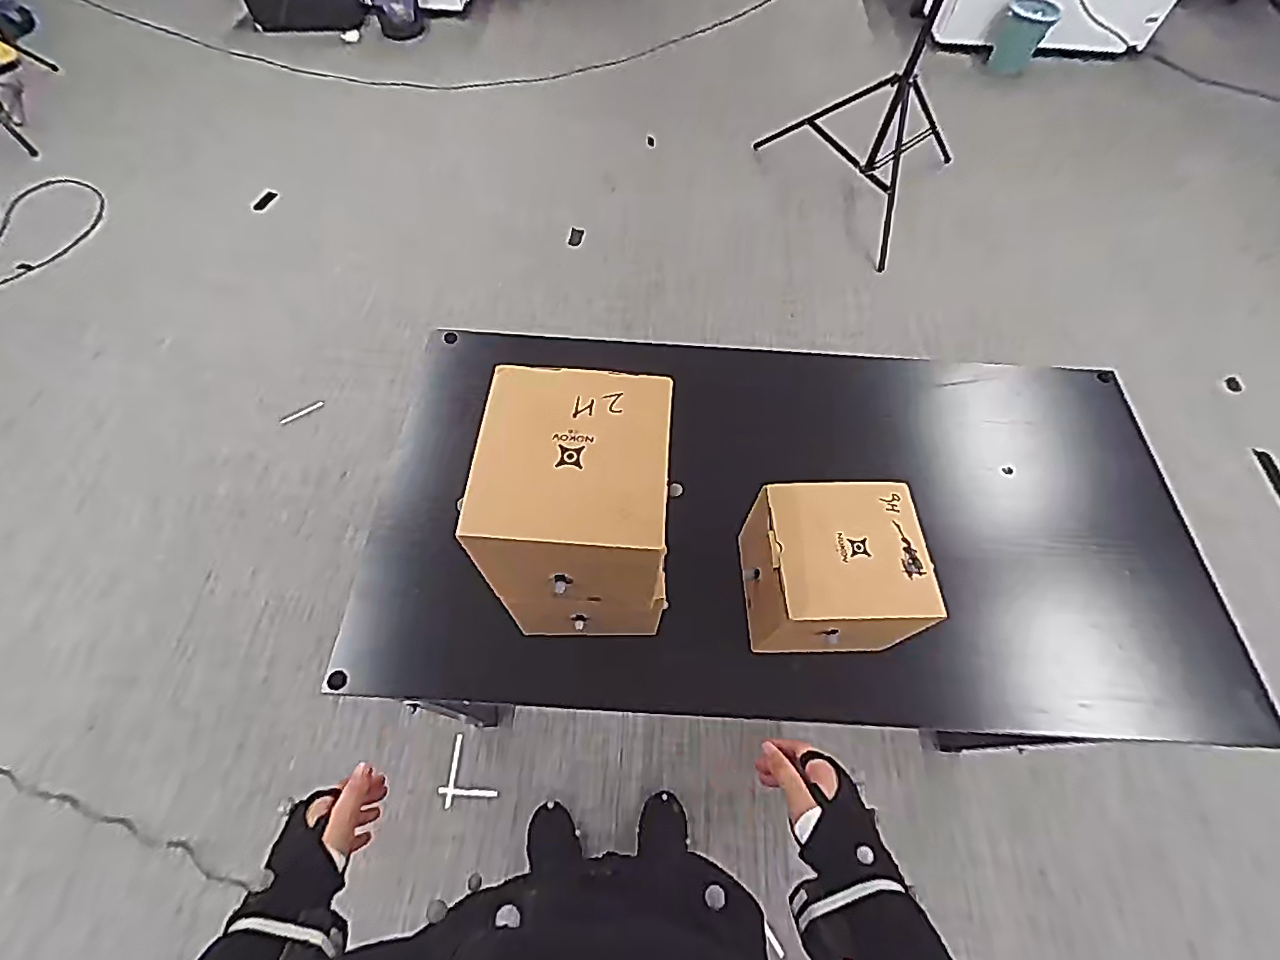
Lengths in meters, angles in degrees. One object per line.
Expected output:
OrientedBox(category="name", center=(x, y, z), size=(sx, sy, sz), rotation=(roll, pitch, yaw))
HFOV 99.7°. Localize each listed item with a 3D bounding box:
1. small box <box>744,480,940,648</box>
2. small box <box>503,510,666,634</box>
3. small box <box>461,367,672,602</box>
OrientedBox(category="small box", center=(0.234, 0.112, 0.684), size=(0.179, 0.176, 0.168), rotation=(-1, 61, -2))
OrientedBox(category="small box", center=(-0.061, 0.092, 0.684), size=(0.179, 0.176, 0.168), rotation=(0, 61, -1))
OrientedBox(category="small box", center=(-0.059, 0.013, 0.539), size=(0.168, 0.176, 0.179), rotation=(4, 61, 0))
